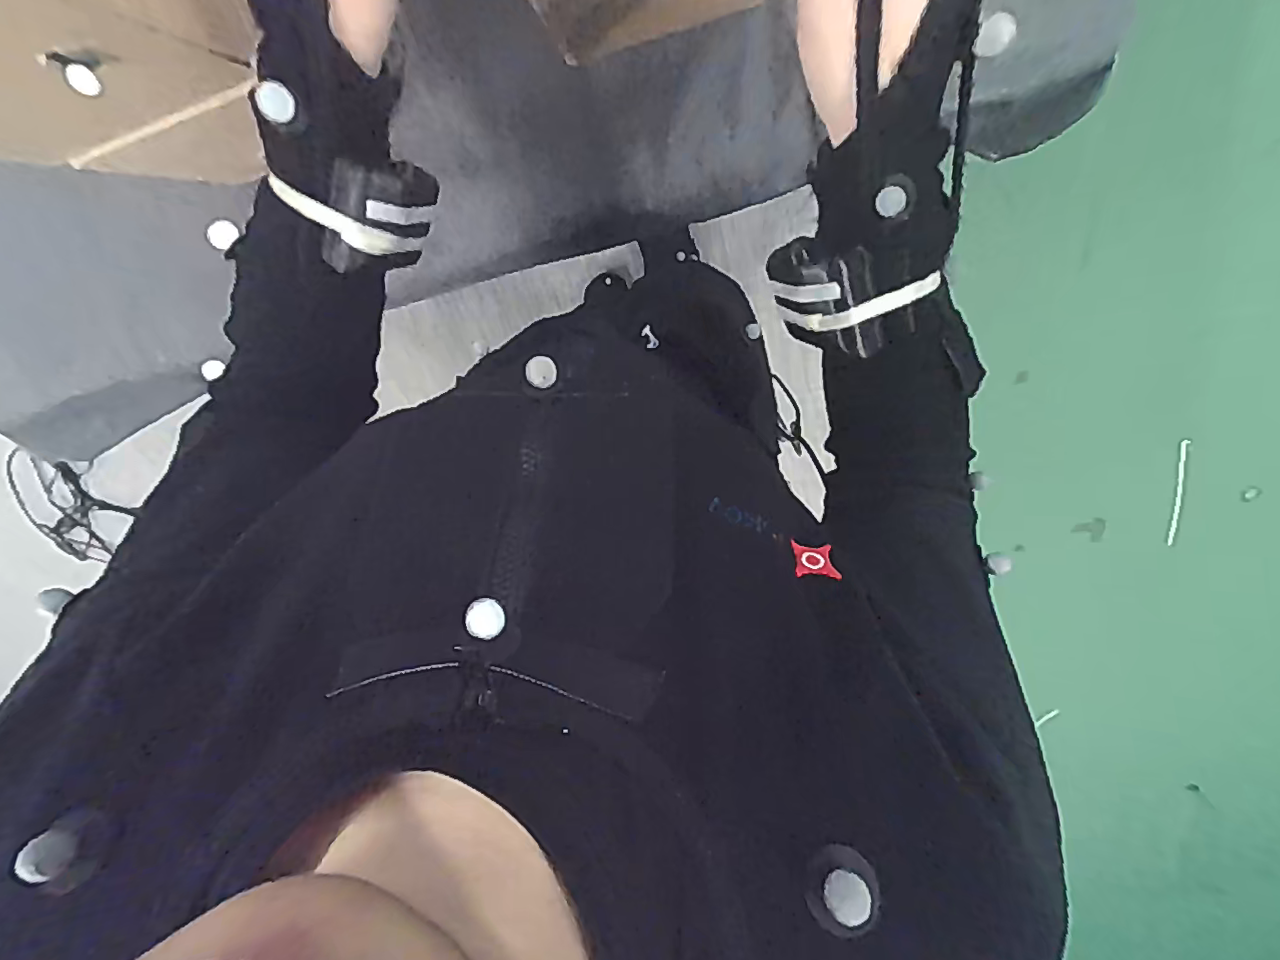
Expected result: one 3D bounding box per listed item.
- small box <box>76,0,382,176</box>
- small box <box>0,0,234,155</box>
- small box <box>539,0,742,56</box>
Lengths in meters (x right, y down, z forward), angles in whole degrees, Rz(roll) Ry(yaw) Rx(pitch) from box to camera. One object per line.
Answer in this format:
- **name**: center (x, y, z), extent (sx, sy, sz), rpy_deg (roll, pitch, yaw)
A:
- **small box**: center (-0.333, -0.348, 0.399), extent (0.168, 0.176, 0.179), rpy_deg (-14, 114, 9)
- **small box**: center (-0.344, -0.278, 0.254), extent (0.179, 0.176, 0.168), rpy_deg (-15, 112, 10)
- **small box**: center (-0.005, -0.420, 0.355), extent (0.179, 0.176, 0.168), rpy_deg (-13, 113, 8)
